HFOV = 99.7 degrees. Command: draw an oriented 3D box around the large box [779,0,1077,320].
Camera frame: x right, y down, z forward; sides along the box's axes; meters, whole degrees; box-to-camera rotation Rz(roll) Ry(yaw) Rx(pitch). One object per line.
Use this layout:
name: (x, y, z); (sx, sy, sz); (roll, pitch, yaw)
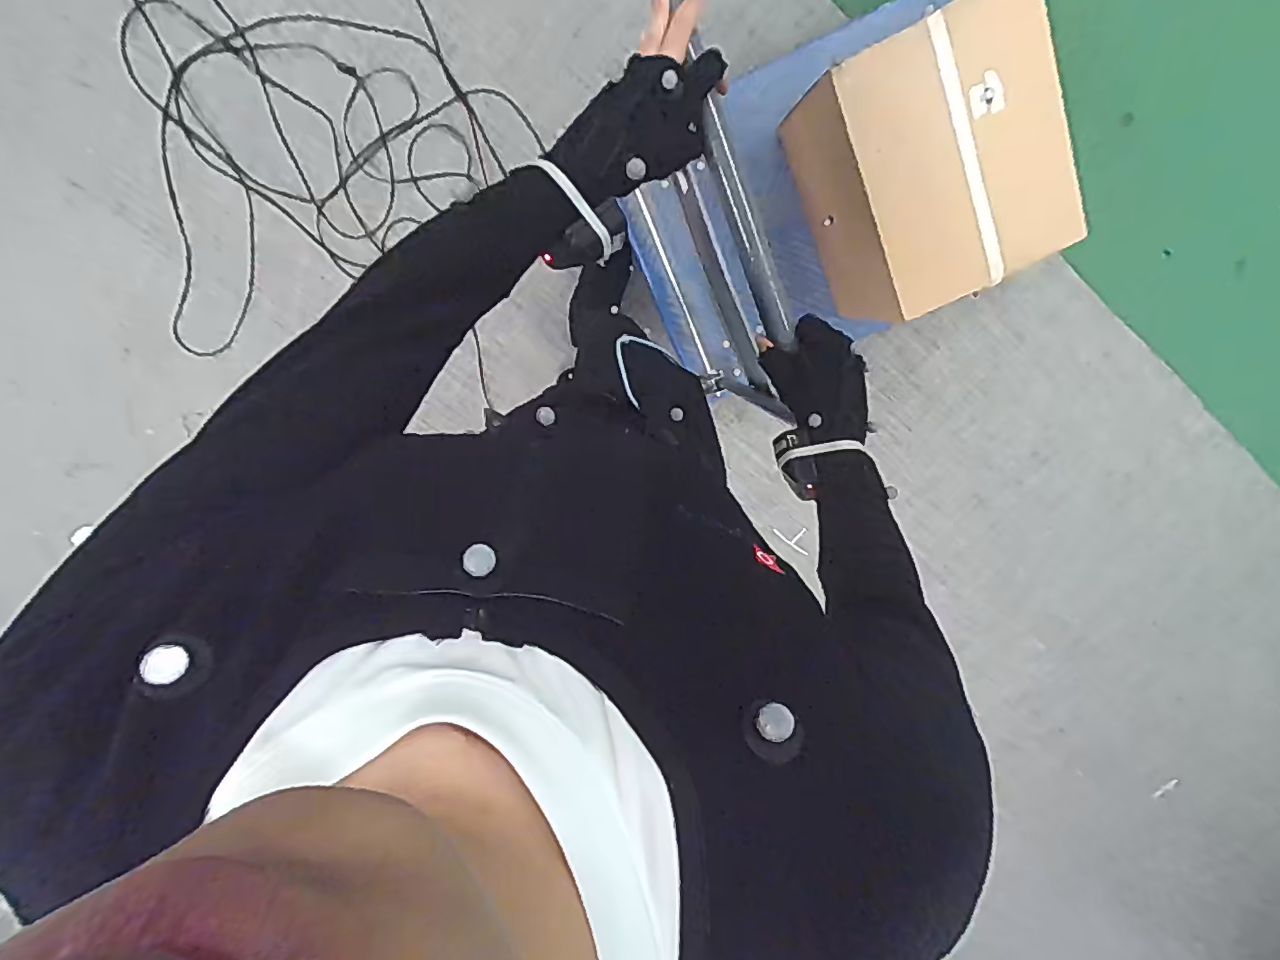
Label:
large box: (0.500, -0.550, 0.998); (0.320, 0.320, 0.408); (-25, 106, 6)
